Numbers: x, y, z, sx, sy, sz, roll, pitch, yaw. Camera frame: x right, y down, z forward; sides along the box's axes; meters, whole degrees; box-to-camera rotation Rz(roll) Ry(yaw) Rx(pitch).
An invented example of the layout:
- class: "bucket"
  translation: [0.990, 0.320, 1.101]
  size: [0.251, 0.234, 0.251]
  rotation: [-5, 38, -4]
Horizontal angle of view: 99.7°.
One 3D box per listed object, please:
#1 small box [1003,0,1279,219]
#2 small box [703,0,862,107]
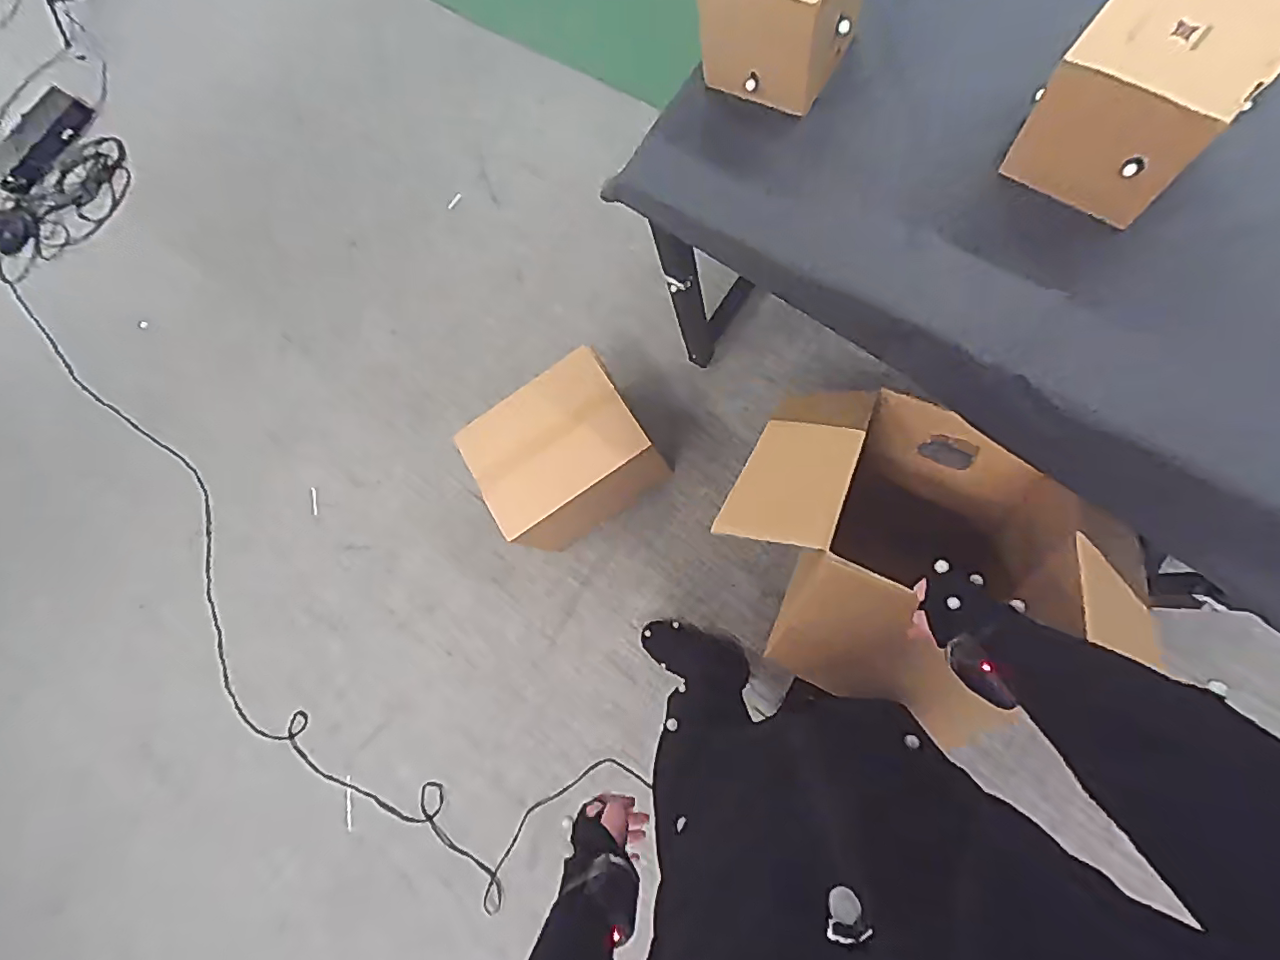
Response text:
- class: "small box"
  translation: [0.590, -0.450, 0.642]
  size: [0.179, 0.176, 0.168]
  rotation: [38, 87, 17]
- class: "small box"
  translation: [0.207, -0.677, 0.764]
  size: [0.179, 0.176, 0.168]
  rotation: [30, 86, 14]
